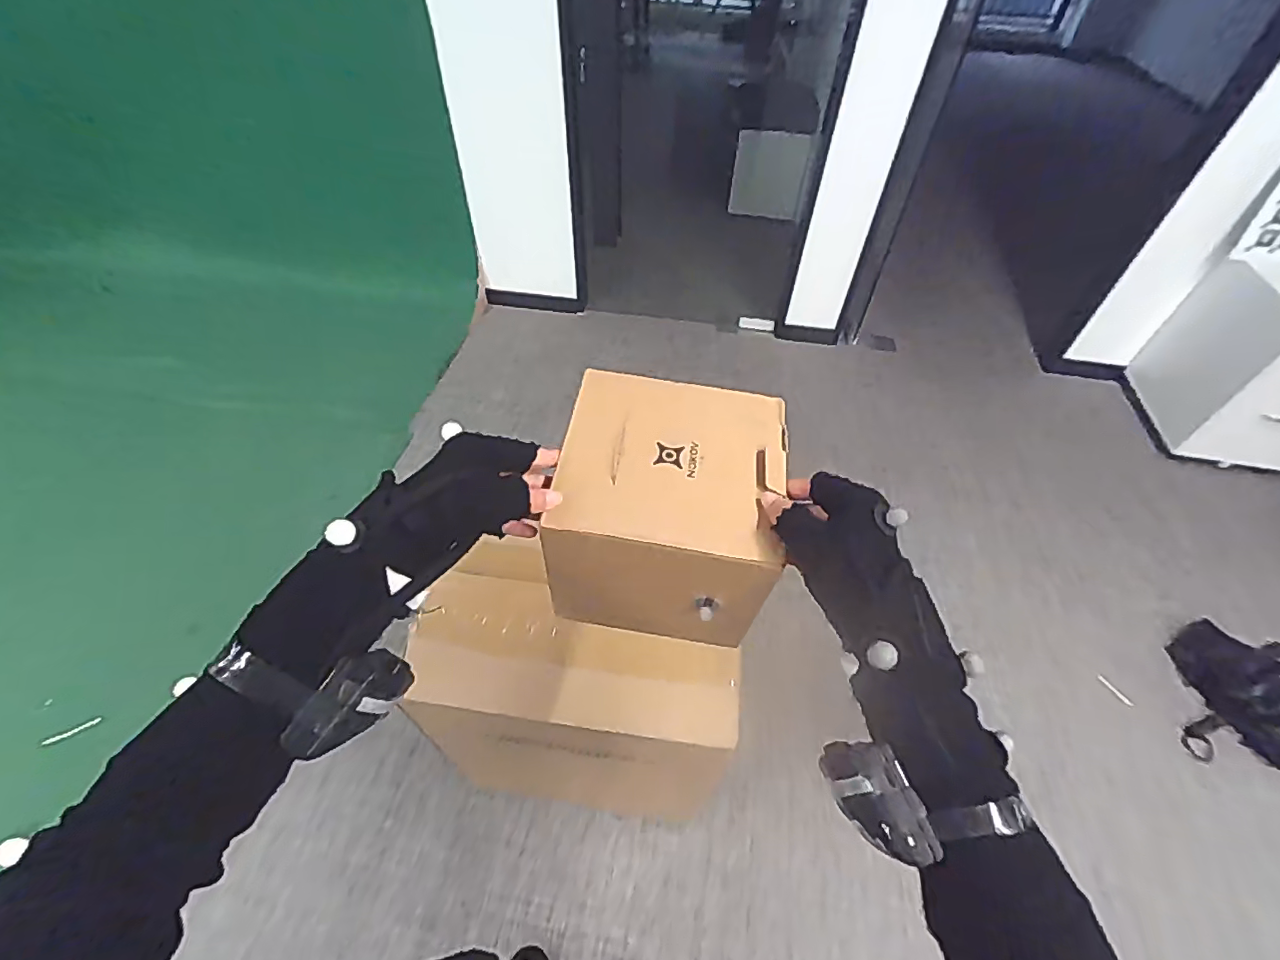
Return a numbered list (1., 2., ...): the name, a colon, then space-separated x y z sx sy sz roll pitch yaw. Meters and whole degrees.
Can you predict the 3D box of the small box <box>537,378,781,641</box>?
1. small box: 0.020 0.033 0.490 0.179 0.176 0.168 6 52 3
